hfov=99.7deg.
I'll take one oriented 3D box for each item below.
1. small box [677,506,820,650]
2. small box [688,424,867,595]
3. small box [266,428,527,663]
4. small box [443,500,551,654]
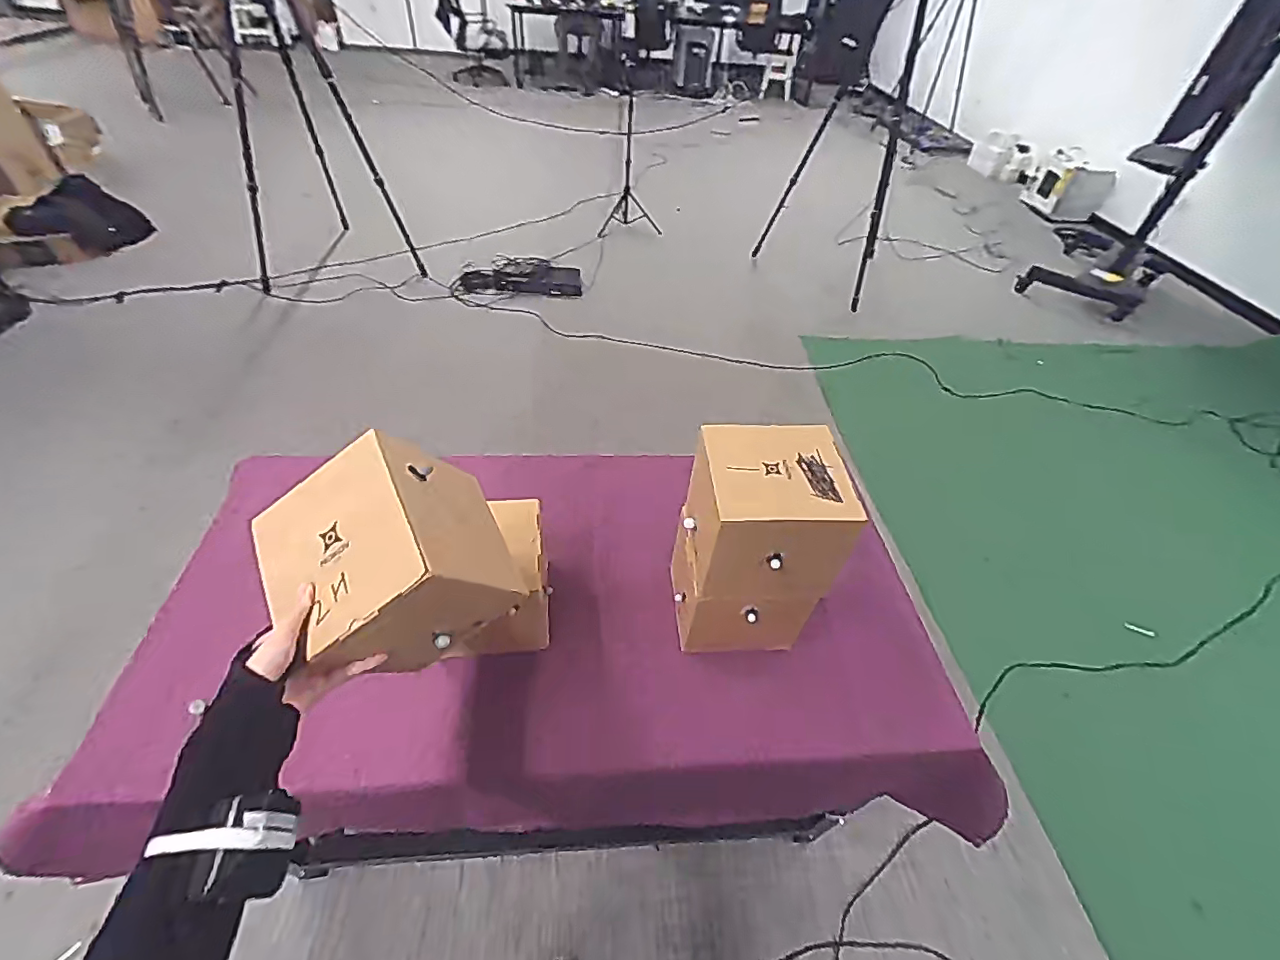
[{"bbox_3d":[0.154,0.154,0.845,0.179,0.176,0.168,0,47,-5],"label":"small box"},{"bbox_3d":[0.168,0.042,0.725,0.179,0.176,0.168,-1,47,-4],"label":"small box"},{"bbox_3d":[-0.253,0.082,0.583,0.168,0.176,0.179,-34,64,6],"label":"small box"},{"bbox_3d":[-0.229,0.149,0.818,0.179,0.176,0.168,-3,47,-9],"label":"small box"}]
